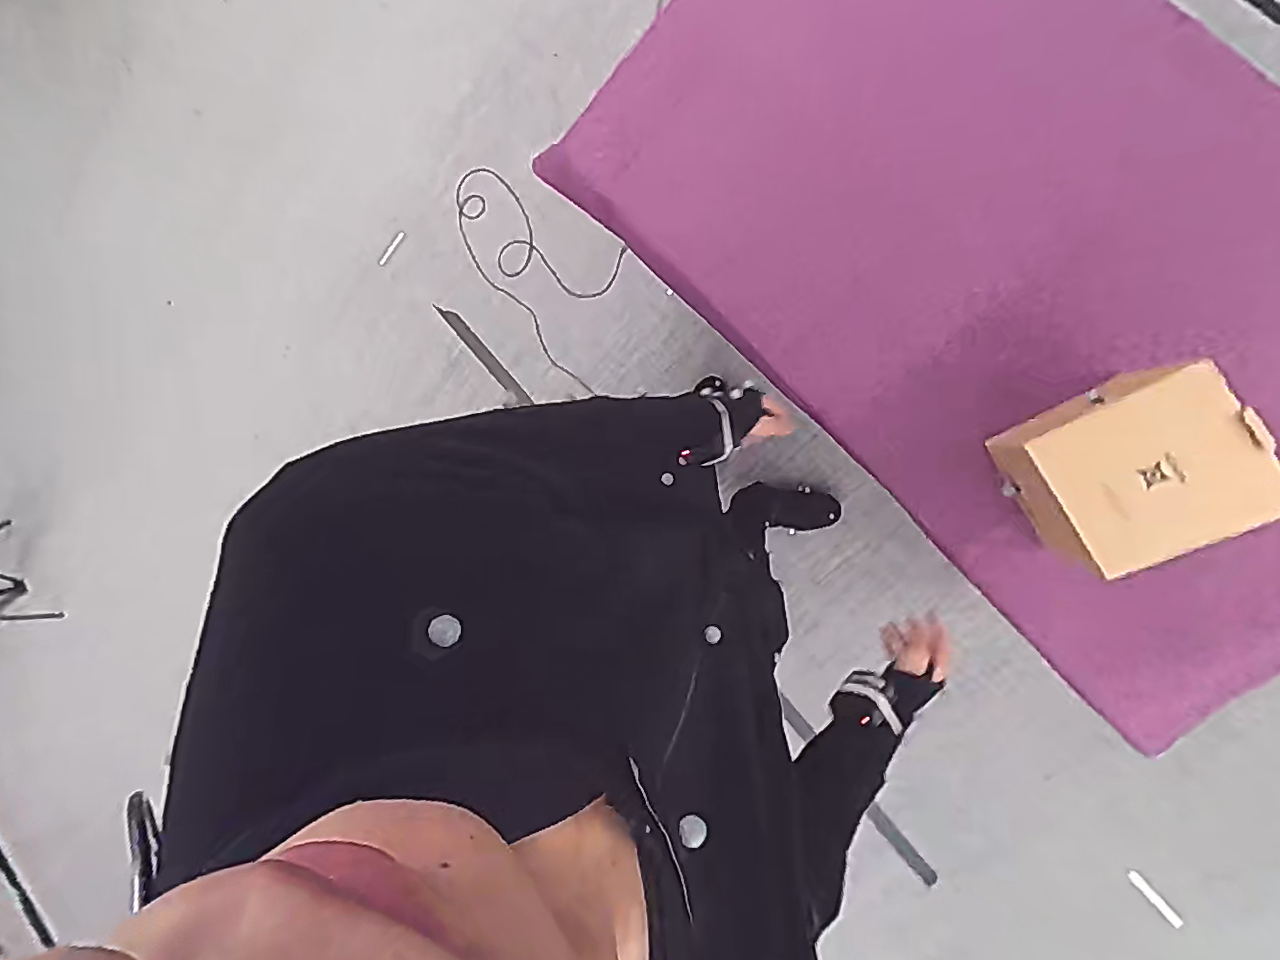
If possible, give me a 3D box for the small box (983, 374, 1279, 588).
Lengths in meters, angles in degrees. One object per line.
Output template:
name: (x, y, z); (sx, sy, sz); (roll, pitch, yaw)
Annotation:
small box: (0.540, -0.002, 0.621); (0.179, 0.176, 0.168); (-29, 84, 18)
